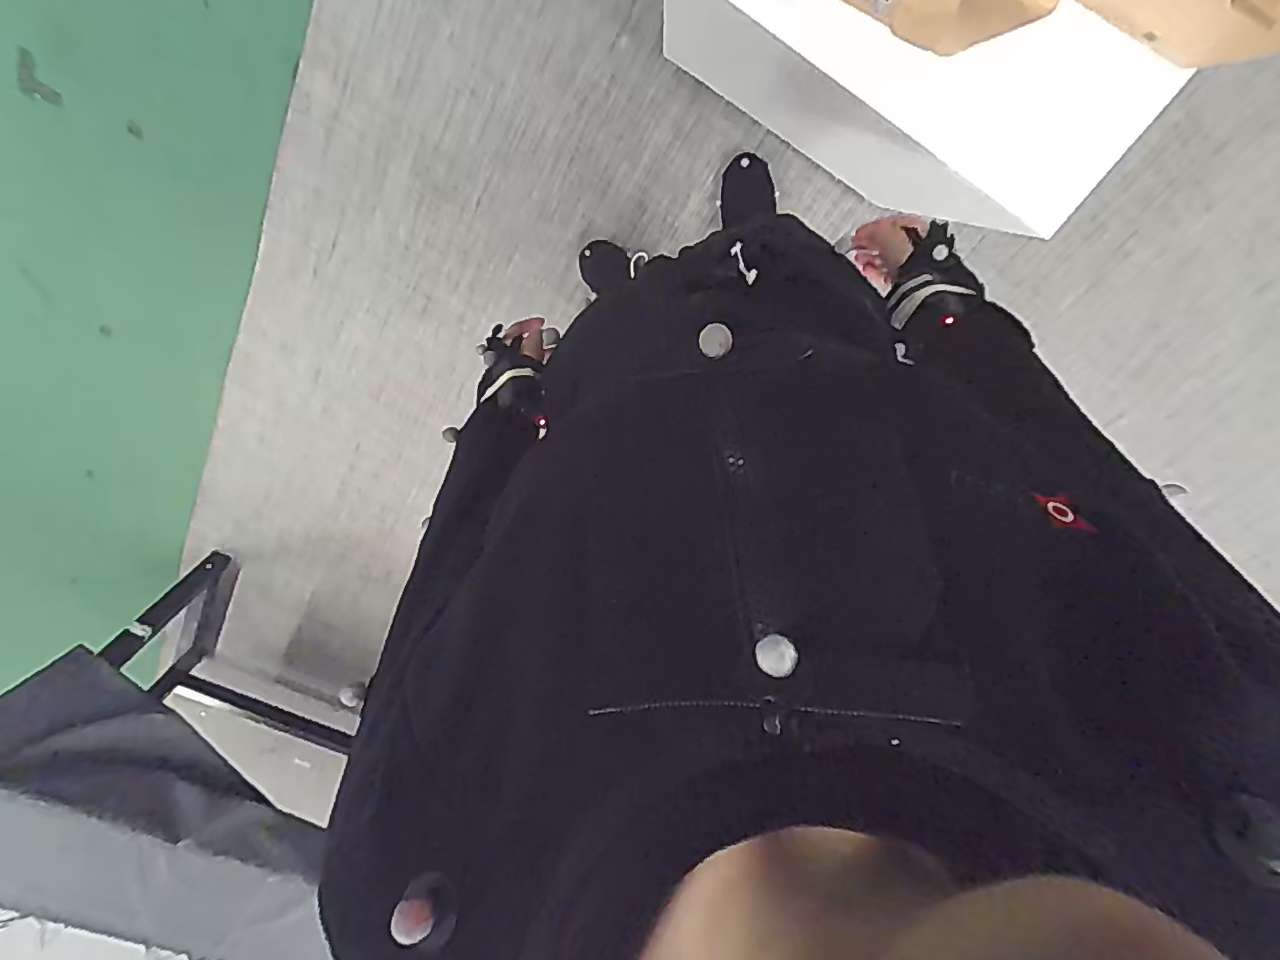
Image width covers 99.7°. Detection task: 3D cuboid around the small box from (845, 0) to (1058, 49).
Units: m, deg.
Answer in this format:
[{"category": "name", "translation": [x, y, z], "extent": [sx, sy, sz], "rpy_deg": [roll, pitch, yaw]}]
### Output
[{"category": "small box", "translation": [0.253, -0.472, 0.405], "extent": [0.168, 0.176, 0.179], "rpy_deg": [19, 119, -9]}]
